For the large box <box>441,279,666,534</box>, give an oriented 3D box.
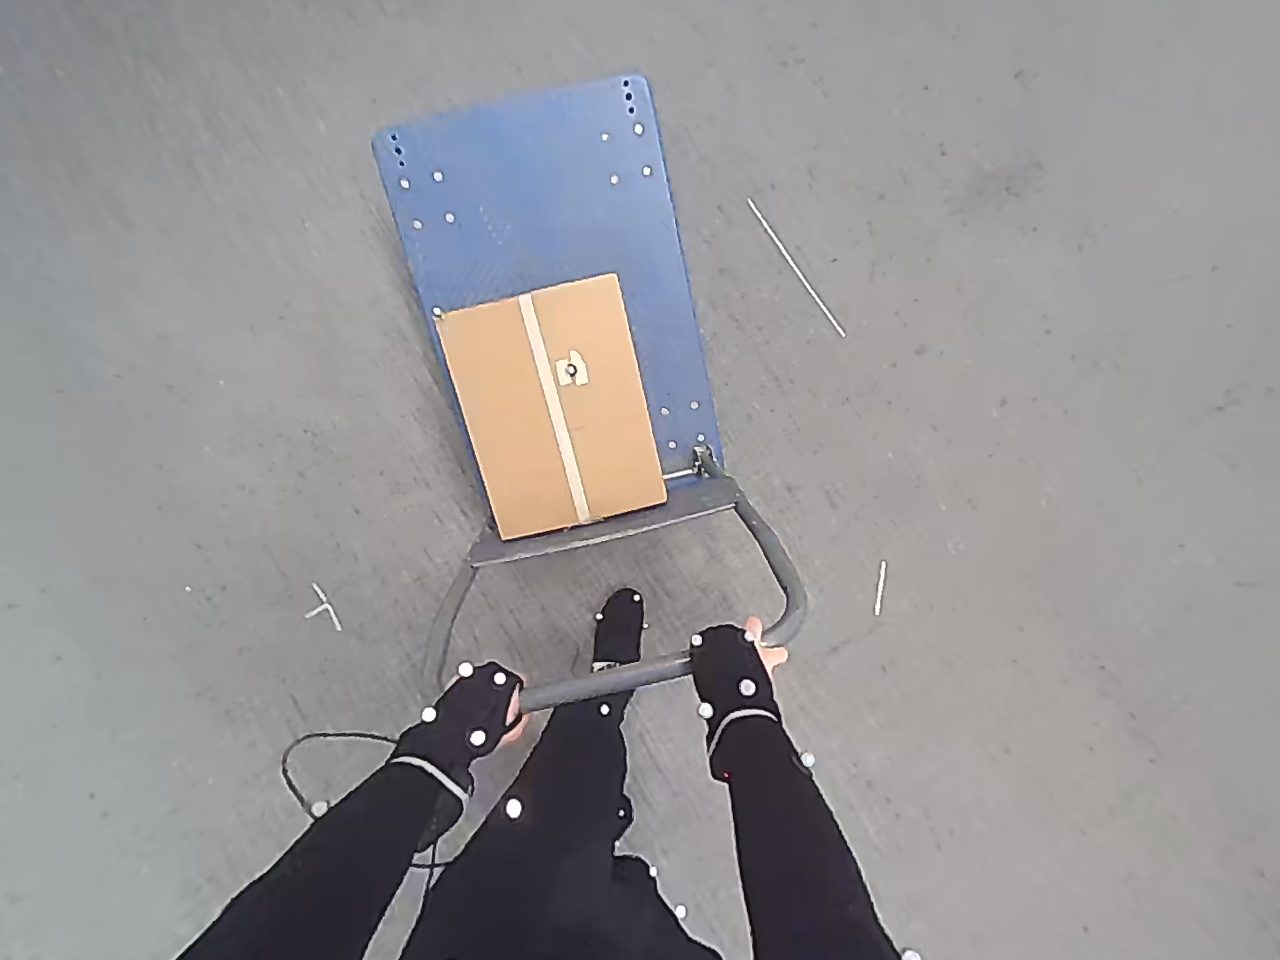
[{"bbox_3d":[-0.150,-0.150,1.106,0.320,0.320,0.408,-14,103,0],"label":"large box"}]
